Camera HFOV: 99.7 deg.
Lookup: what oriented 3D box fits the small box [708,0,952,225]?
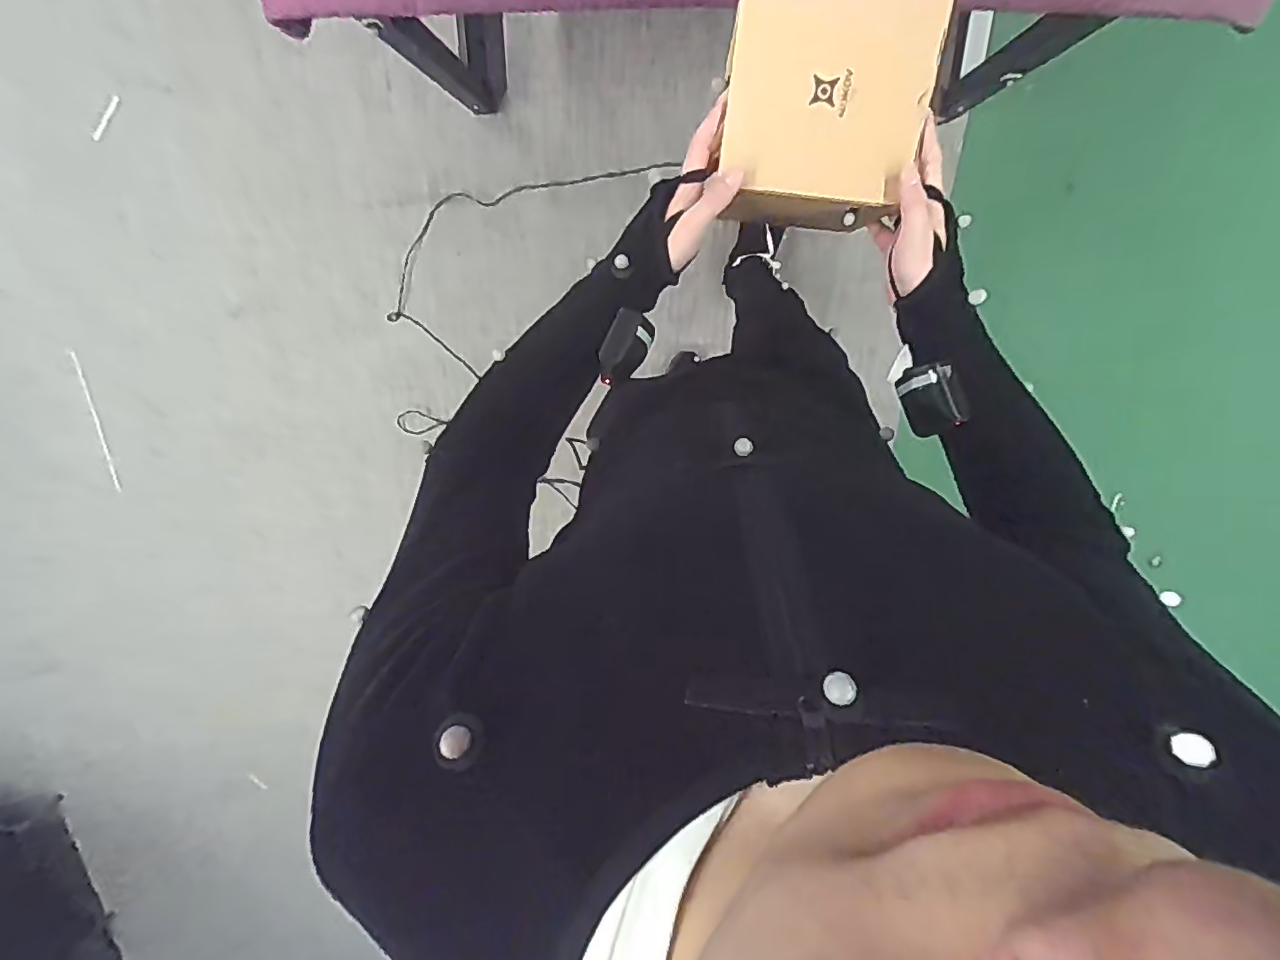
[{"bbox_3d":[0.166,-0.362,0.539,0.179,0.176,0.168,6,107,1],"label":"small box"}]
